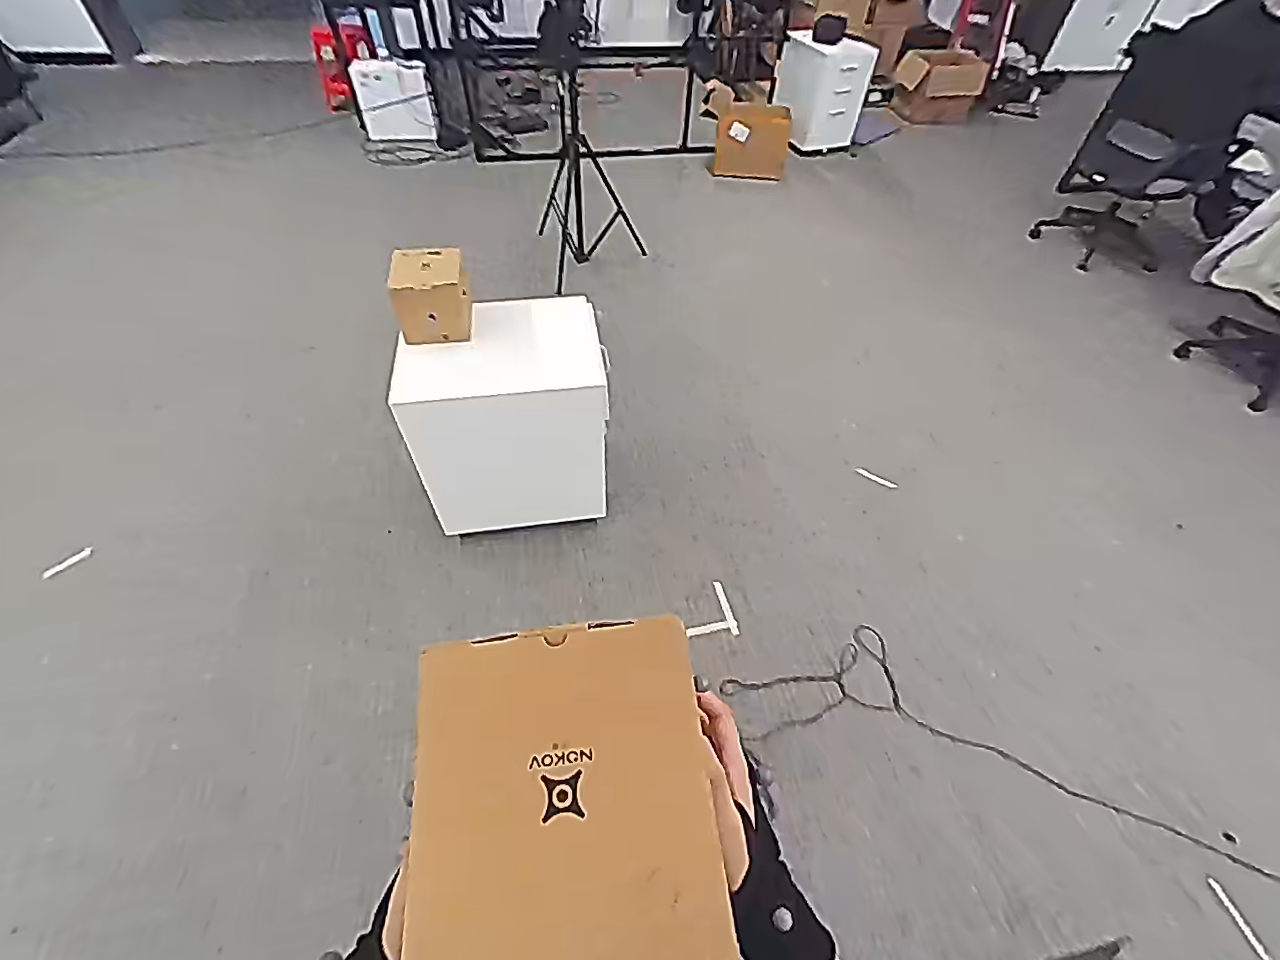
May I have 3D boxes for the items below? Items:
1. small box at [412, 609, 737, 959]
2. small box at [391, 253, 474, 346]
[{"bbox_3d":[-0.040,0.206,0.373,0.168,0.176,0.179,-7,60,-4],"label":"small box"},{"bbox_3d":[-0.530,-0.464,1.405,0.168,0.176,0.179,-6,53,-9],"label":"small box"}]
